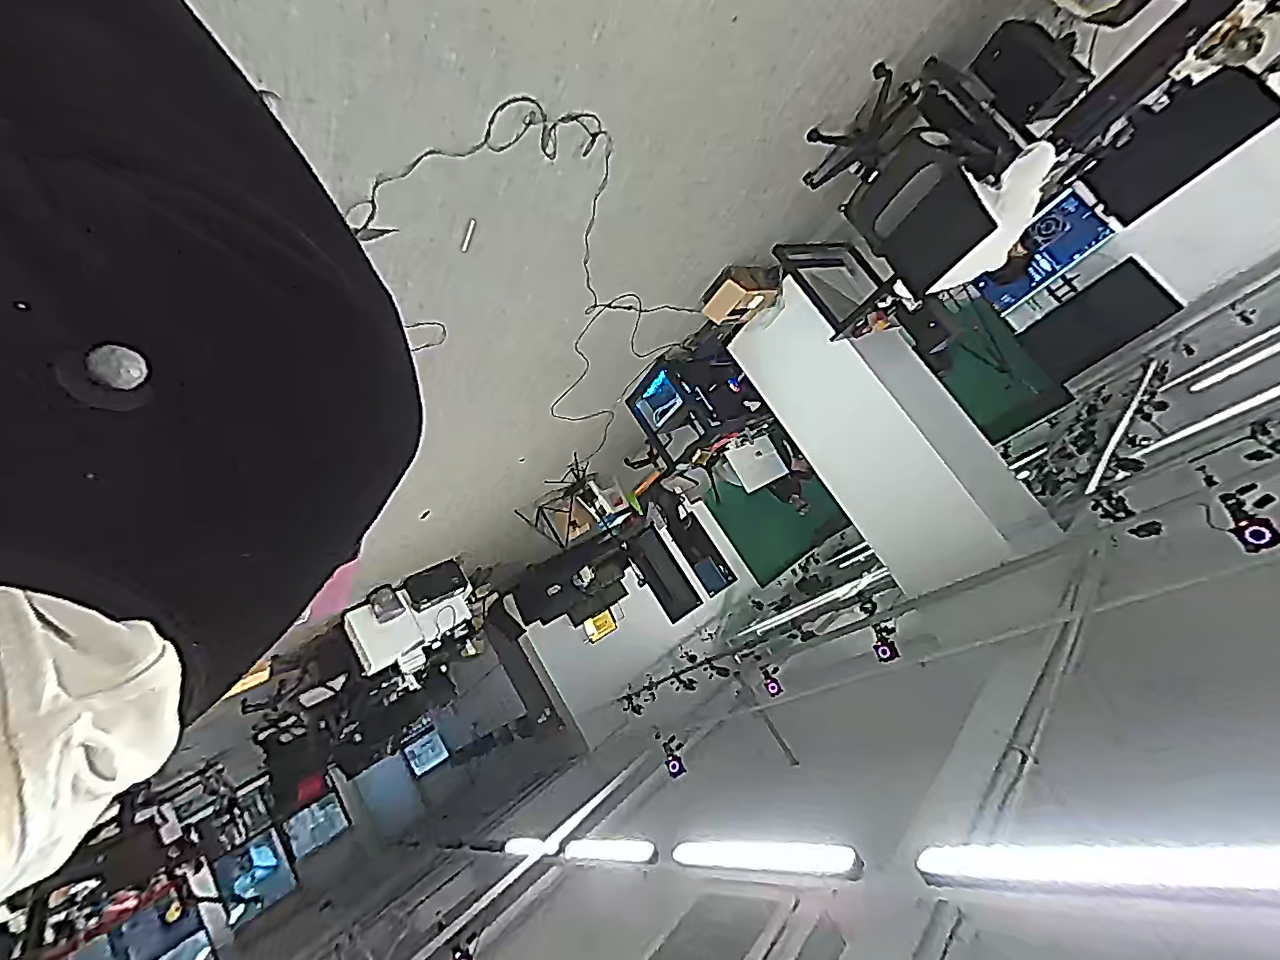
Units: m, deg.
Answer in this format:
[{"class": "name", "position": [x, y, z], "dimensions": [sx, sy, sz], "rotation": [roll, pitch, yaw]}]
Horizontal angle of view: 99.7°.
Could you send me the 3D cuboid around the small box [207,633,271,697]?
[{"class": "small box", "position": [-1.614, 0.741, 2.176], "dimensions": [0.168, 0.176, 0.179], "rotation": [-21, 163, -43]}]
